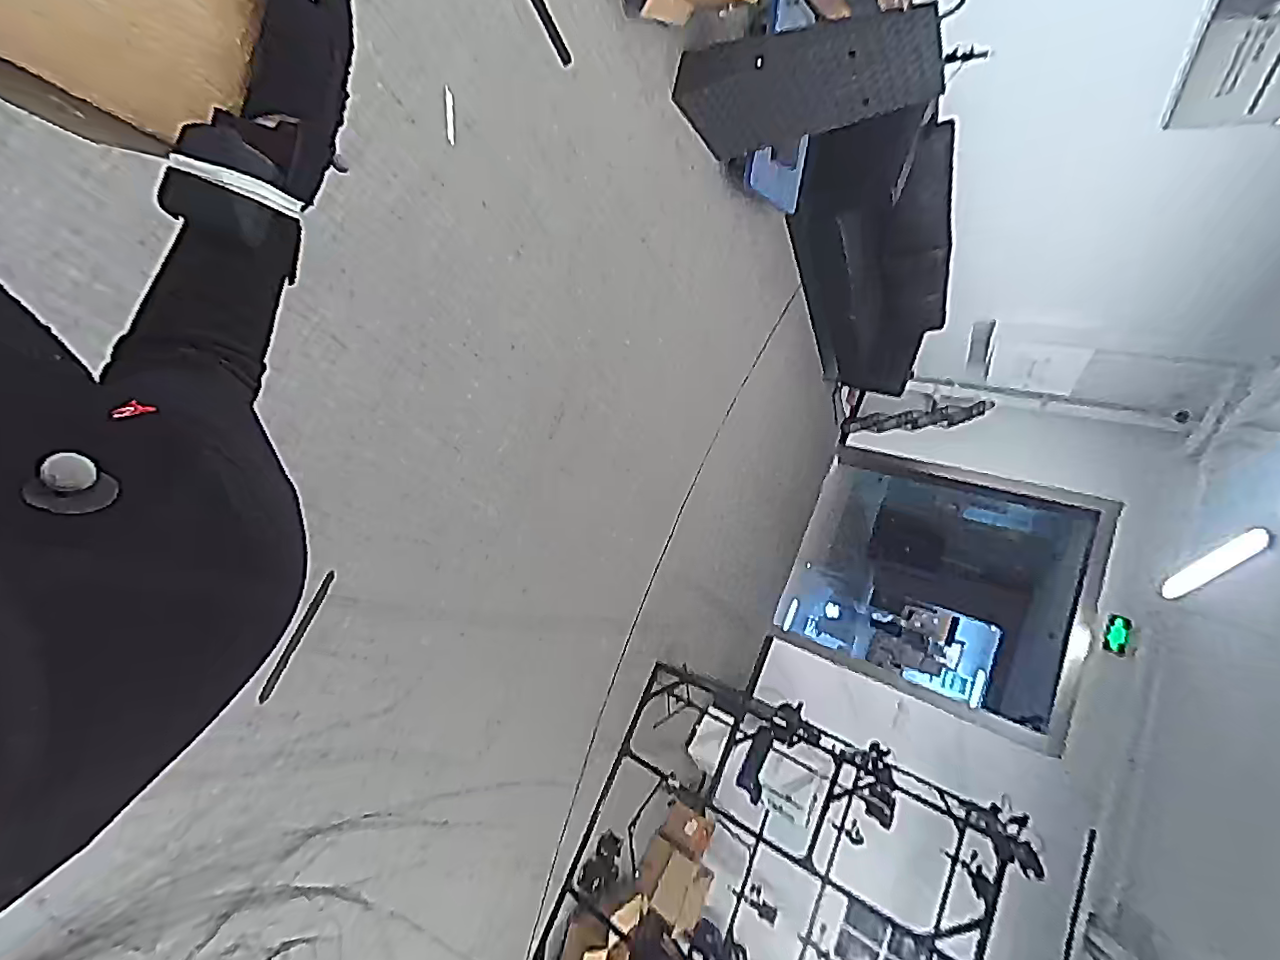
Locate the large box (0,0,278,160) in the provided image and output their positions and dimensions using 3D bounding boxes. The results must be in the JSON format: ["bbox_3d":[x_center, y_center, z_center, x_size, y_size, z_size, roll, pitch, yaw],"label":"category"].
[{"bbox_3d":[-0.470,-0.453,0.294,0.408,0.320,0.320,13,101,-61],"label":"large box"}]
